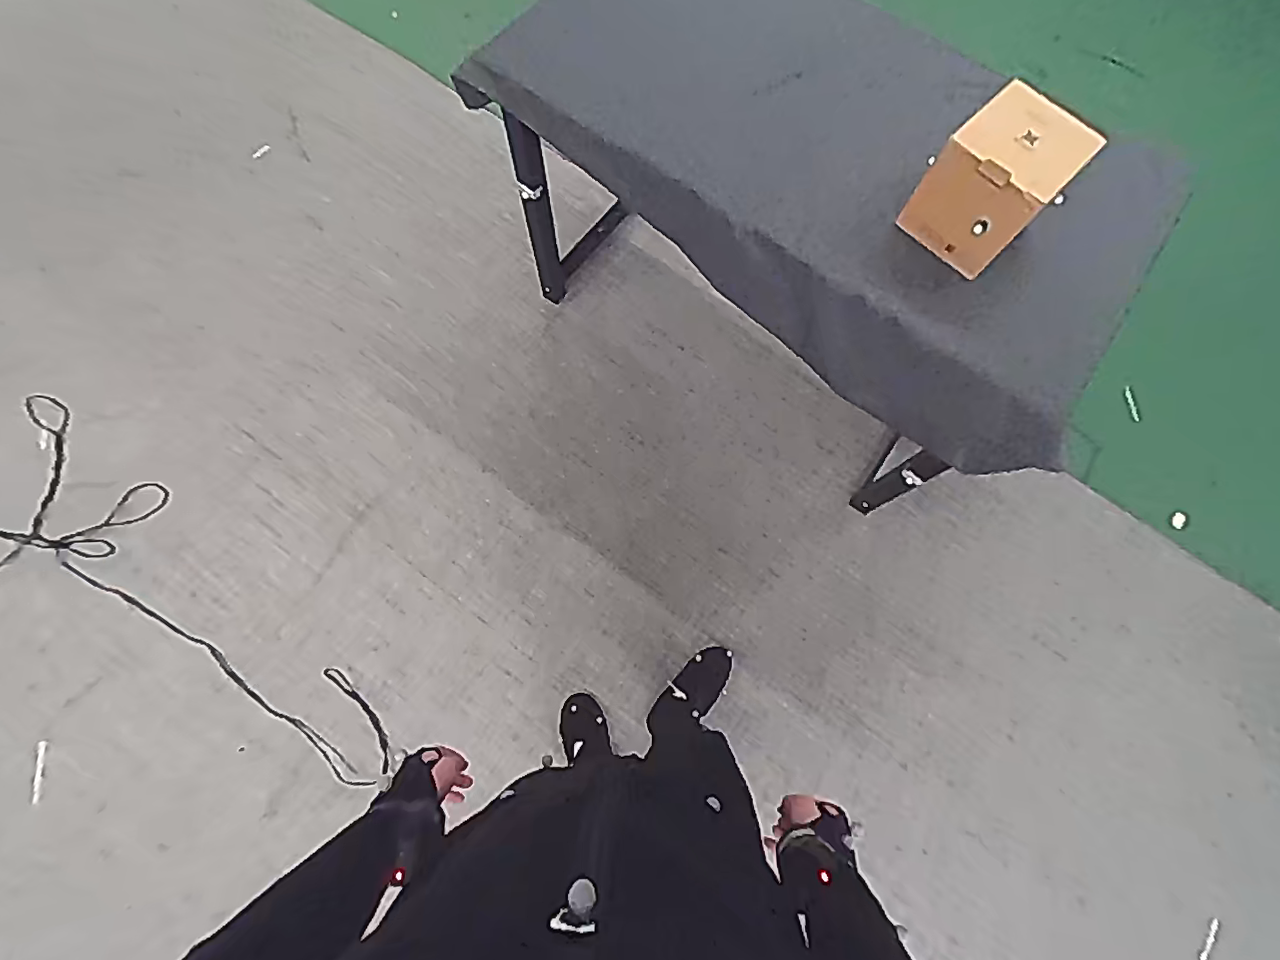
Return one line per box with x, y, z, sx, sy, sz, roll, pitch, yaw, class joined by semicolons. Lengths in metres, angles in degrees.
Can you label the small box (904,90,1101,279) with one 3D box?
0.563;-0.463;0.869;0.179;0.176;0.168;-43;80;-15;small box
